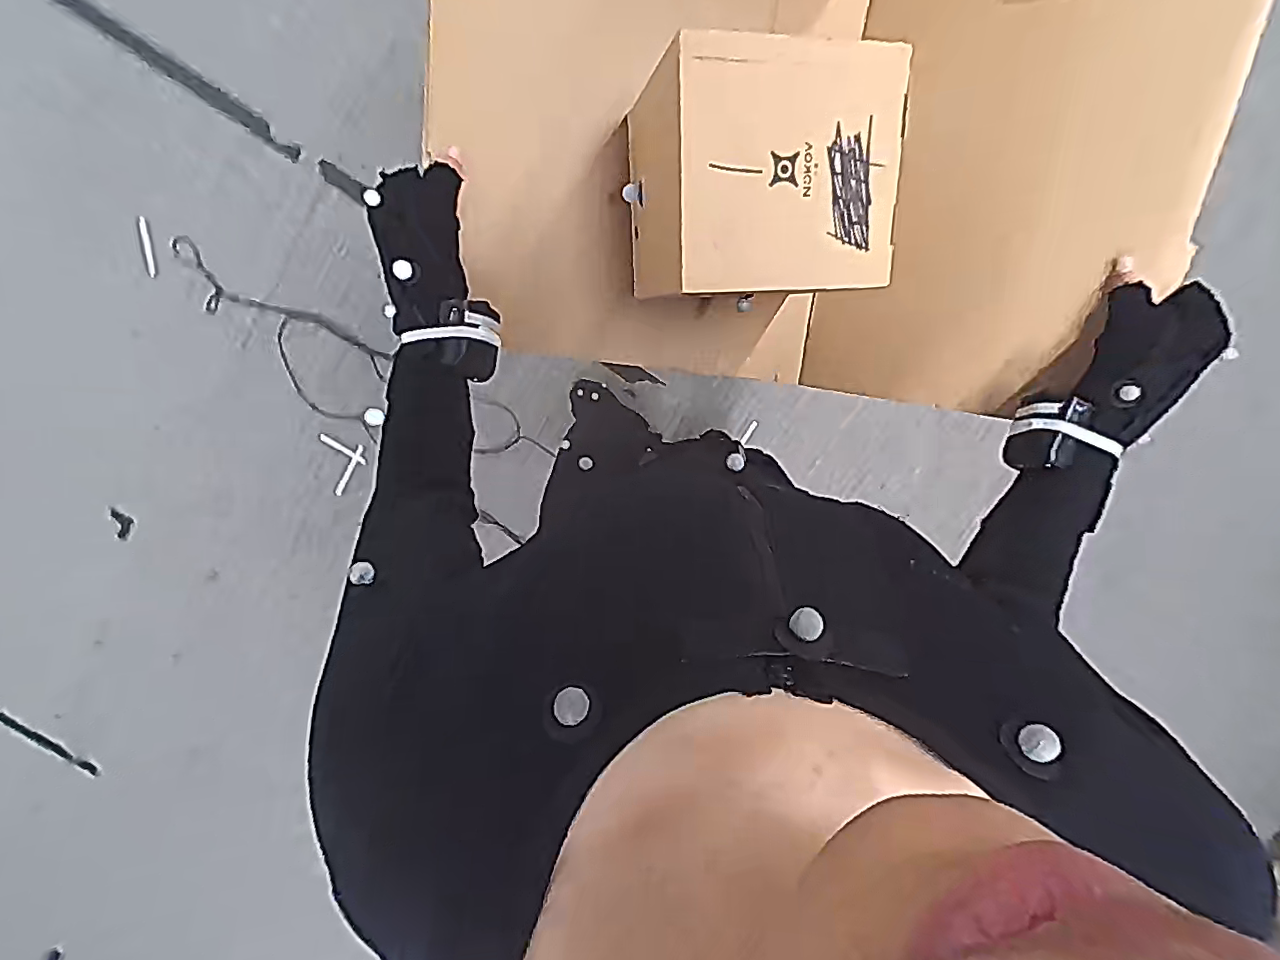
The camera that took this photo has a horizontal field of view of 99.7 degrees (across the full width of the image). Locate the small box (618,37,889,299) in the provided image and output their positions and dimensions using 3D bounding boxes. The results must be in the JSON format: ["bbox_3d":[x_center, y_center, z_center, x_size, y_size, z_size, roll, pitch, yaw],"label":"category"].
[{"bbox_3d":[0.085,-0.251,0.478,0.179,0.176,0.168,-7,107,-11],"label":"small box"}]
